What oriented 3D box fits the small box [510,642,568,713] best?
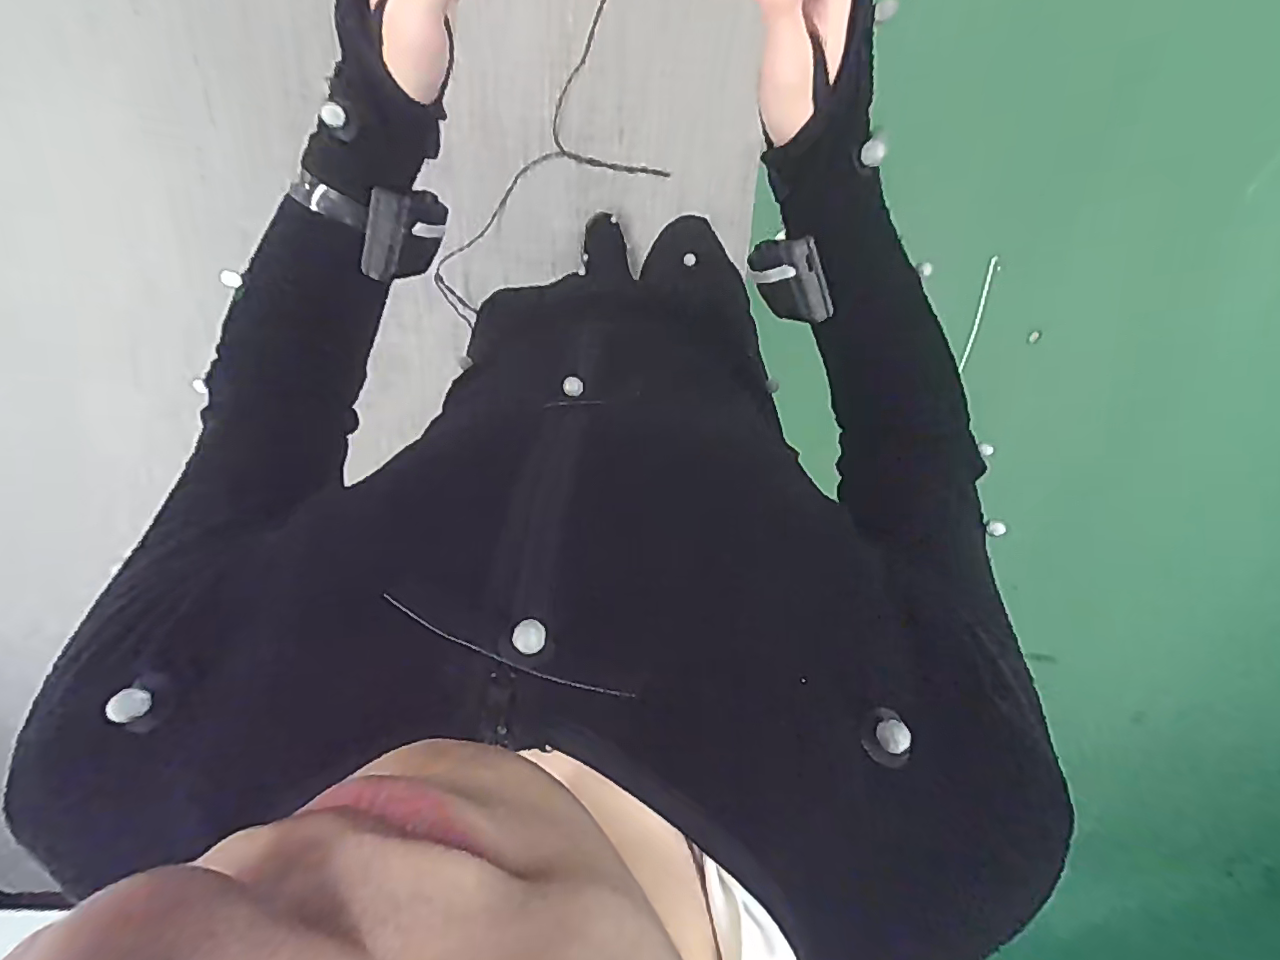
[{"bbox_3d":[-0.358,0.700,1.932,0.179,0.176,0.168,5,115,-2],"label":"small box"}]
